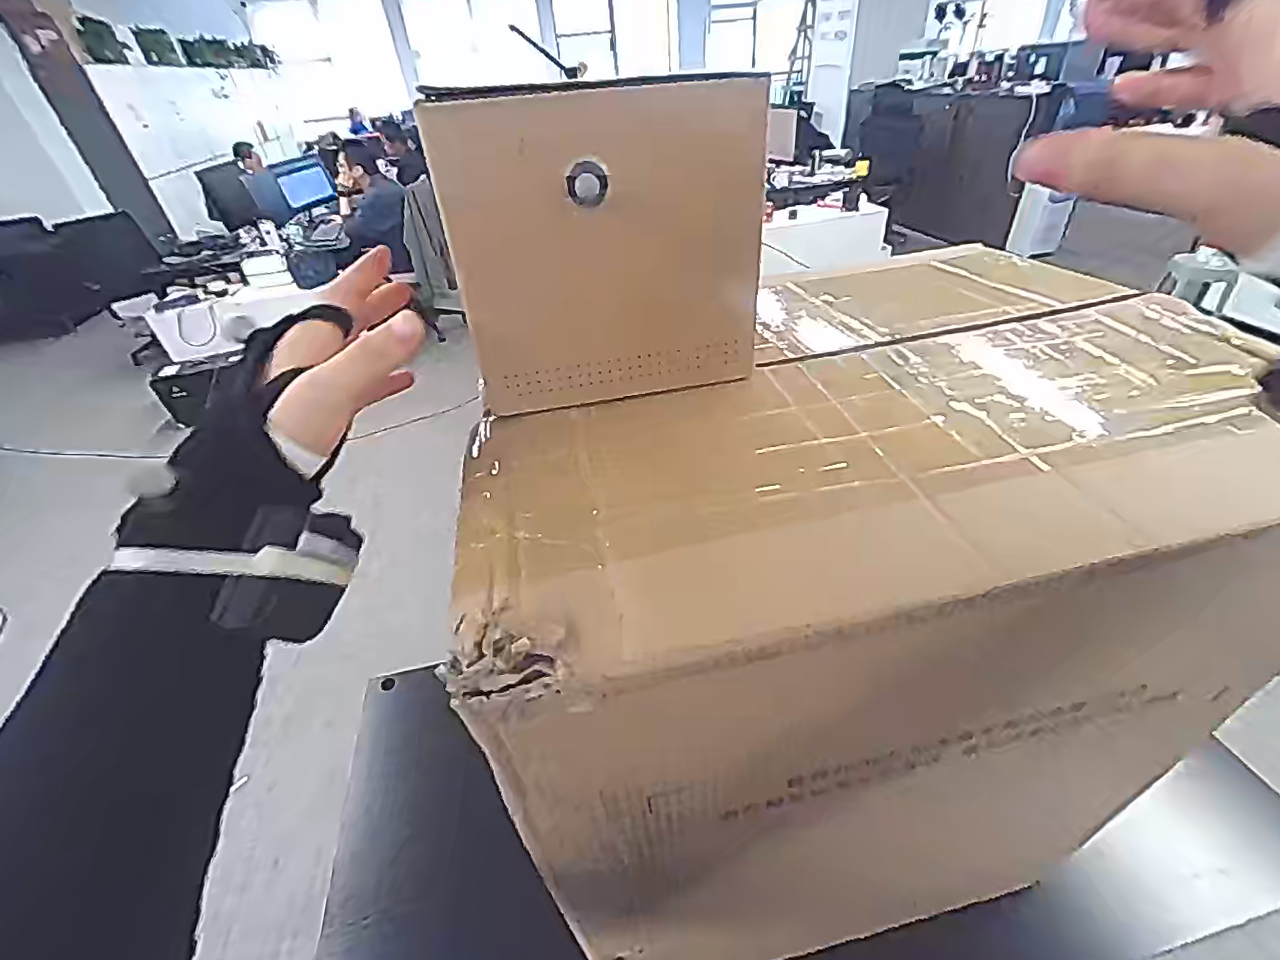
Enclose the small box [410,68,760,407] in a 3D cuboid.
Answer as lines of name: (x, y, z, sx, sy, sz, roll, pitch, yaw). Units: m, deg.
small box: (-0.032, -0.162, 0.368, 0.179, 0.176, 0.168, -10, 36, -8)
